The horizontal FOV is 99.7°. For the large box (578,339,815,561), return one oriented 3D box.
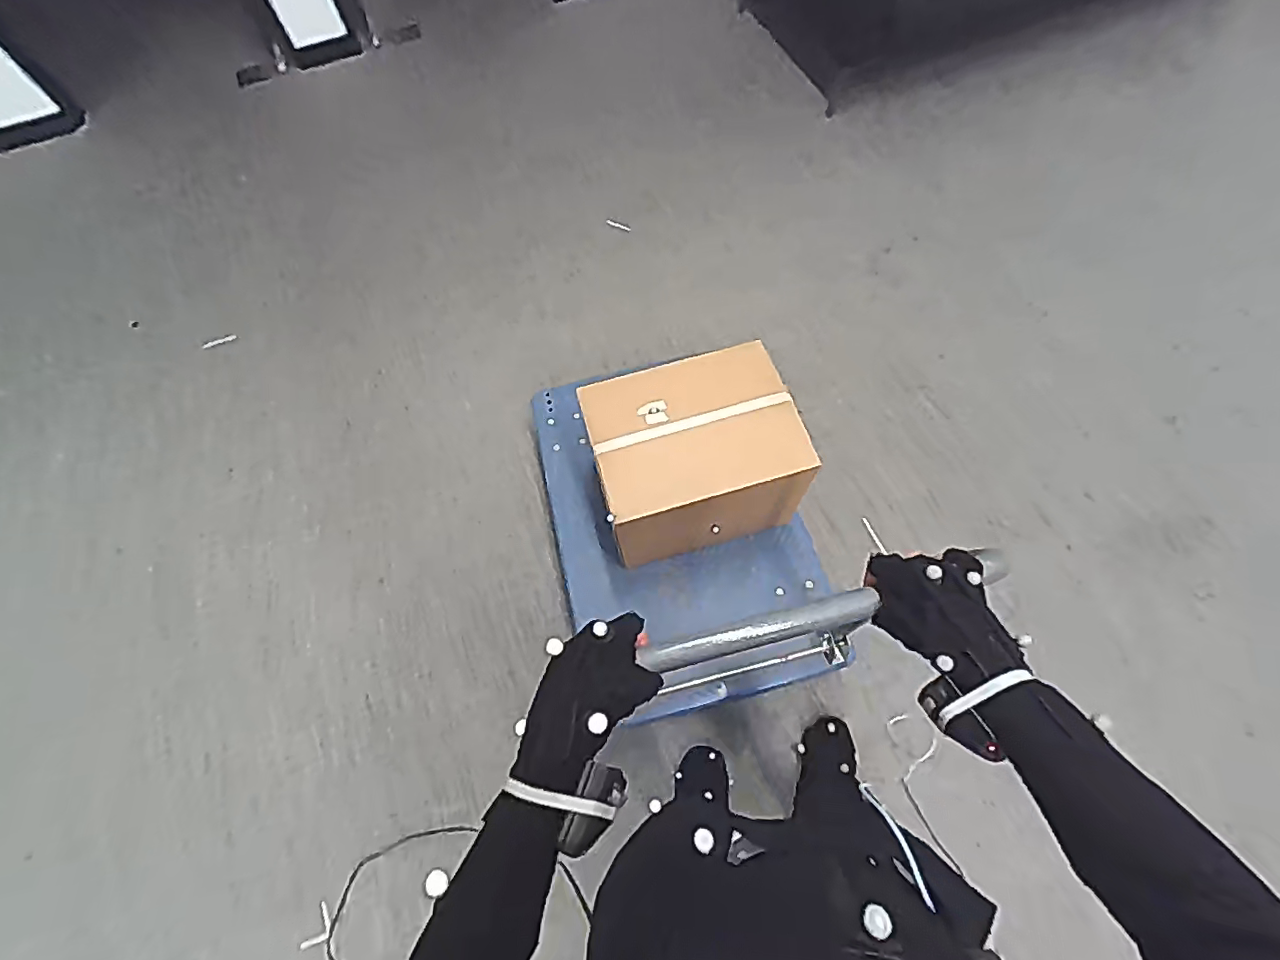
[{"bbox_3d":[0.113,-0.051,1.211,0.408,0.320,0.320,-17,66,-3],"label":"large box"}]
